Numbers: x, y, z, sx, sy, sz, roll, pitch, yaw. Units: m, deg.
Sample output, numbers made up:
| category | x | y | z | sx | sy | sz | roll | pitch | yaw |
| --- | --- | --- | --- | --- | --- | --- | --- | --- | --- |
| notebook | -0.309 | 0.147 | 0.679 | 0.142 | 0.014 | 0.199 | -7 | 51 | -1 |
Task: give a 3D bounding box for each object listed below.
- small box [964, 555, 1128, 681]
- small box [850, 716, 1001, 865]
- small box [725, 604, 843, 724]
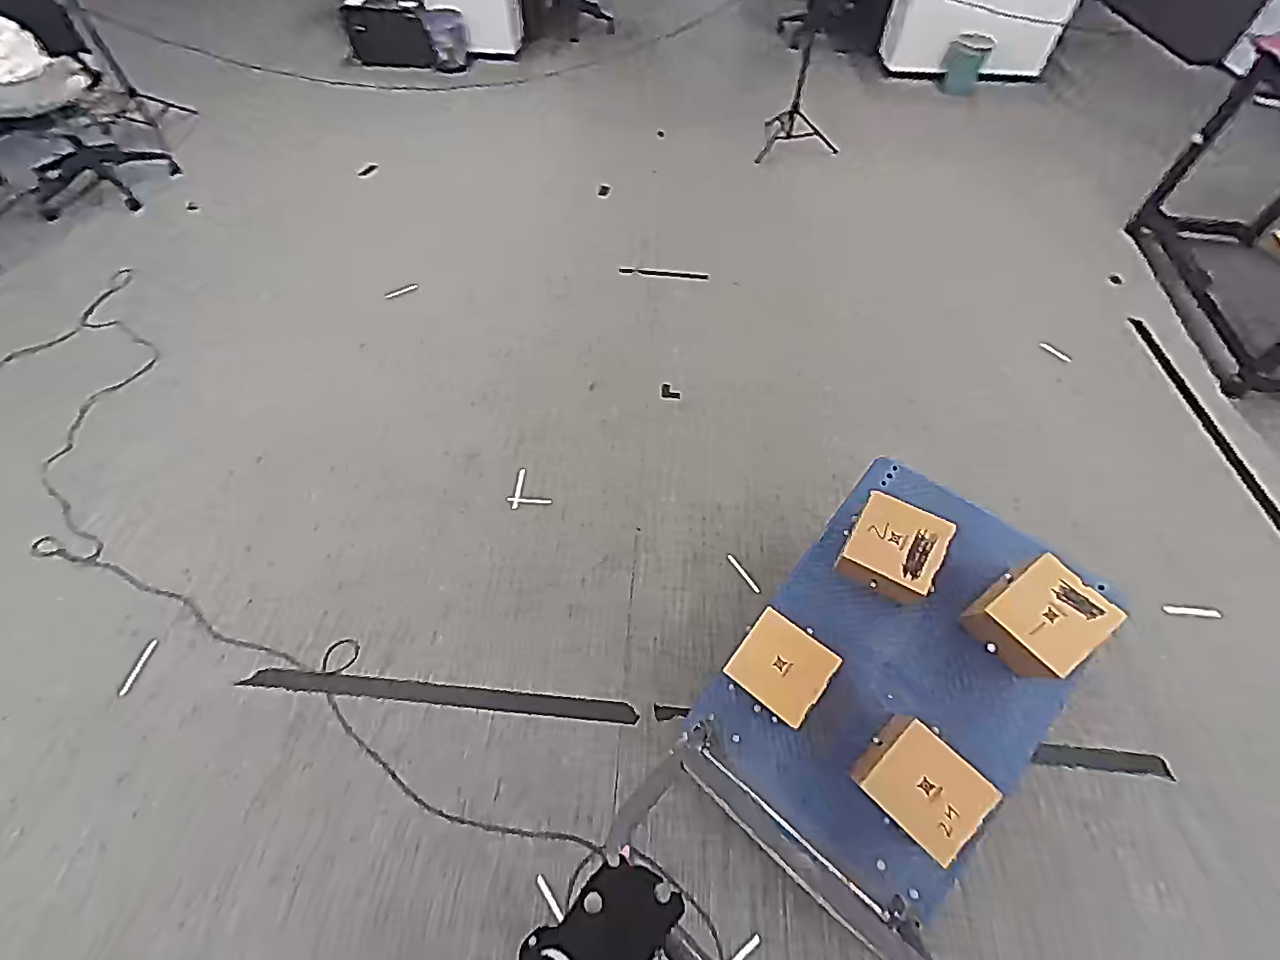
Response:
| category | x | y | z | sx | sy | sz | roll | pitch | yaw |
| --- | --- | --- | --- | --- | --- | --- | --- | --- | --- |
| small box | 0.797 | 0.281 | 1.086 | 0.179 | 0.176 | 0.168 | -40 | 67 | -3 |
| small box | 0.529 | 0.578 | 1.033 | 0.168 | 0.176 | 0.179 | -45 | 67 | -6 |
| small box | 0.300 | 0.393 | 1.154 | 0.179 | 0.176 | 0.168 | 36 | 81 | 20 |
